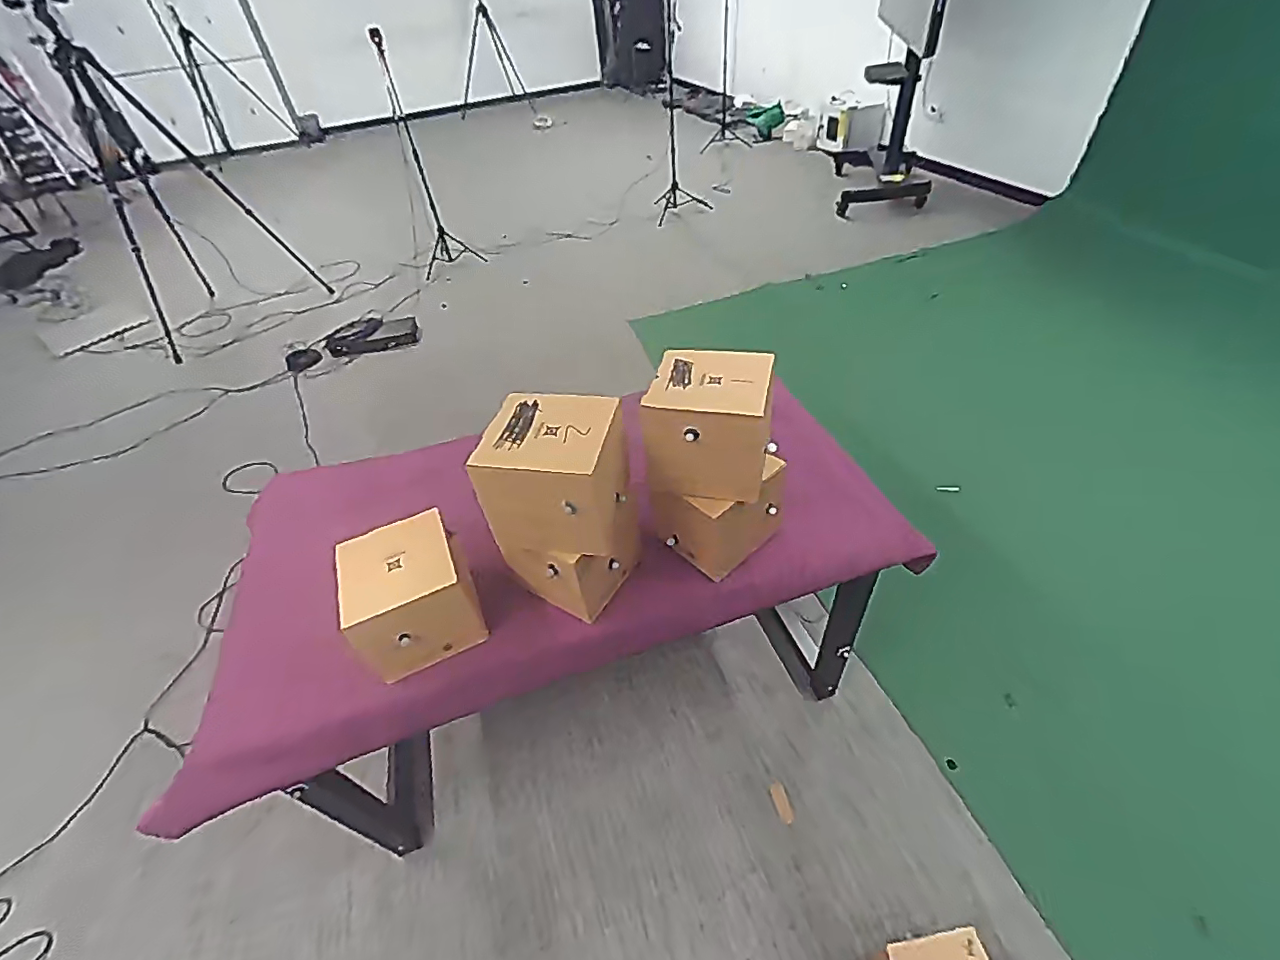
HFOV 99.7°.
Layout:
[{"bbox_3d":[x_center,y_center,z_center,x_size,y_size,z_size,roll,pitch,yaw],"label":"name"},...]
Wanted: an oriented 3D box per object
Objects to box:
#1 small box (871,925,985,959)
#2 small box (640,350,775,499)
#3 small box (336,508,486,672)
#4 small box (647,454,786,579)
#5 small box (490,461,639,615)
[{"bbox_3d":[0.552,0.961,1.009,0.179,0.176,0.168,-10,45,-2],"label":"small box"},{"bbox_3d":[0.111,-0.088,0.855,0.179,0.176,0.168,7,44,15],"label":"small box"},{"bbox_3d":[-0.364,0.182,0.871,0.168,0.176,0.179,-22,45,-15],"label":"small box"},{"bbox_3d":[0.133,0.037,0.958,0.179,0.176,0.168,-34,48,-25],"label":"small box"},{"bbox_3d":[-0.117,0.102,0.921,0.179,0.176,0.168,21,50,27],"label":"small box"}]
